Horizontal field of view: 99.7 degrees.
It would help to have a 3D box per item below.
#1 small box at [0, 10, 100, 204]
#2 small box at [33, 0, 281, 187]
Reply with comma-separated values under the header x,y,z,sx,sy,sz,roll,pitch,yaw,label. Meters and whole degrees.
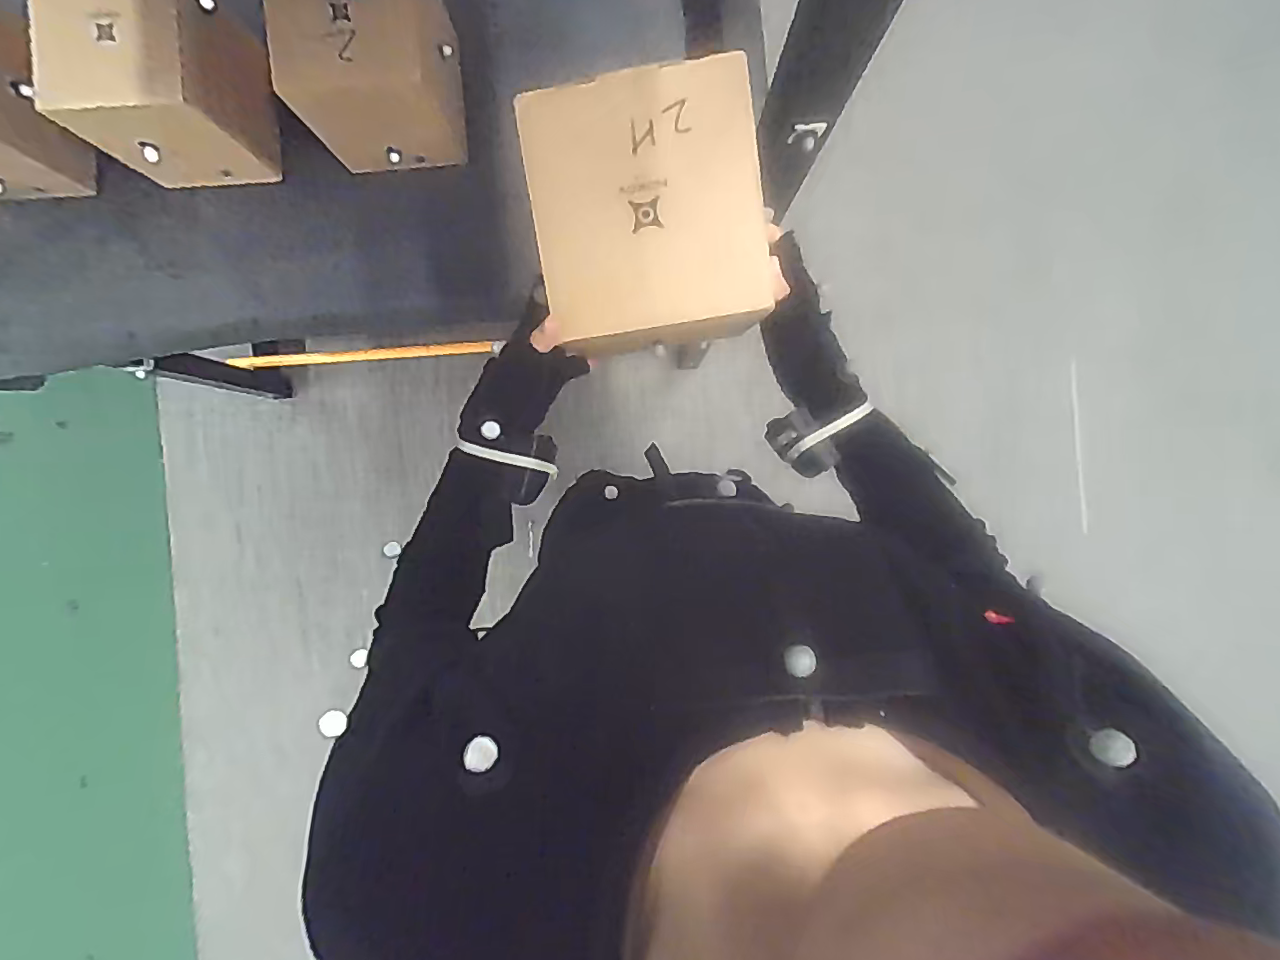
x,y,z,sx,sy,sz,roll,pitch,yaw,label
-0.835,-0.473,0.673,0.168,0.176,0.179,-3,91,0,small box
-0.583,-0.490,0.676,0.168,0.176,0.179,-3,90,0,small box
